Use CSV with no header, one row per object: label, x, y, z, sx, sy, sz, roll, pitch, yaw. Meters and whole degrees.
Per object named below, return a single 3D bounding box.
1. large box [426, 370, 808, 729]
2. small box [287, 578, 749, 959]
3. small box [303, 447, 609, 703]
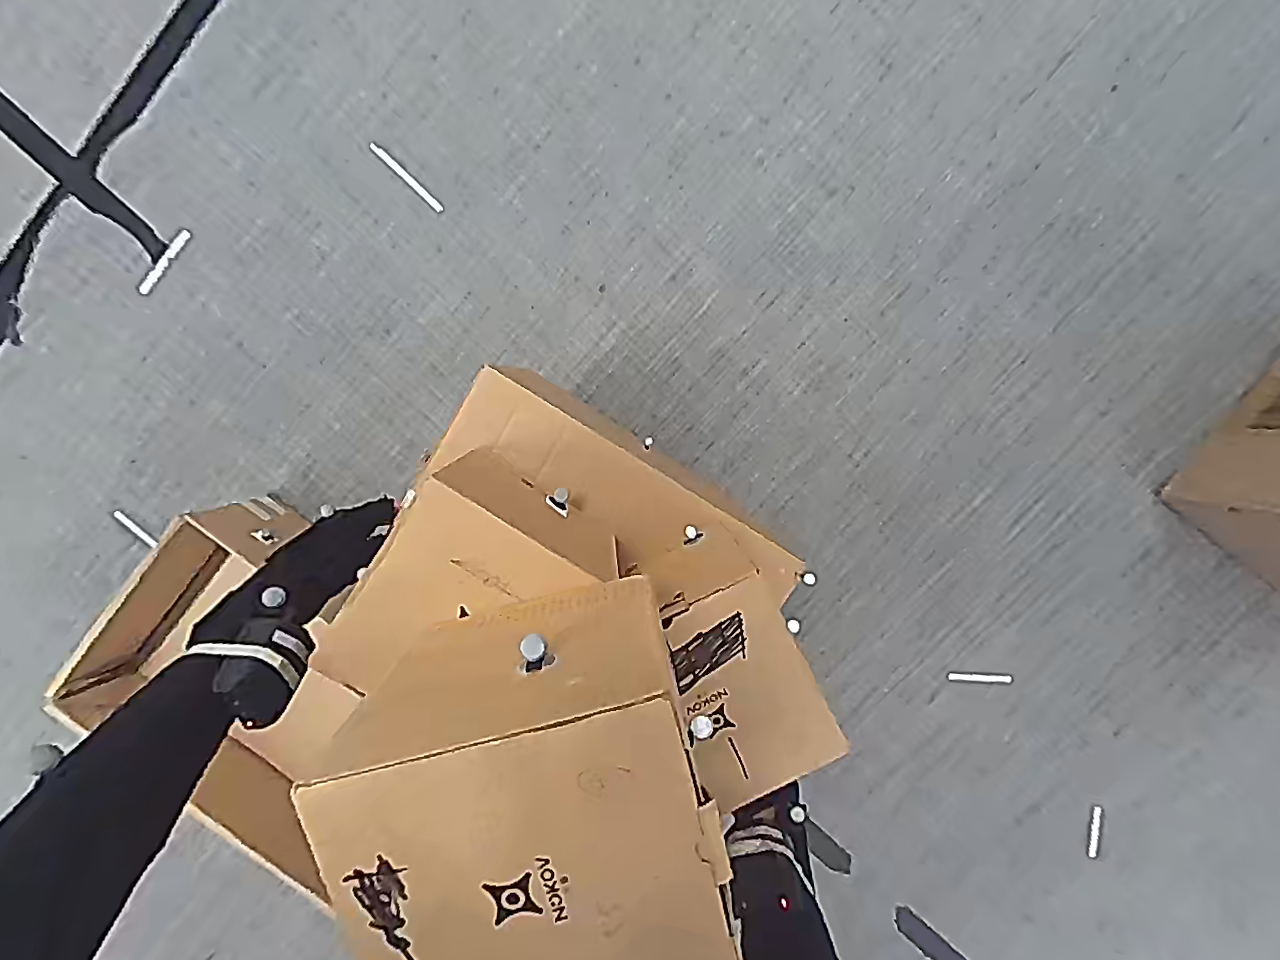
large box,-0.074,0.086,0.721,0.408,0.320,0.320,30,98,-9
small box,-0.055,0.174,0.322,0.179,0.176,0.168,-14,99,-2
small box,-0.137,0.091,0.471,0.168,0.176,0.179,33,96,-11
